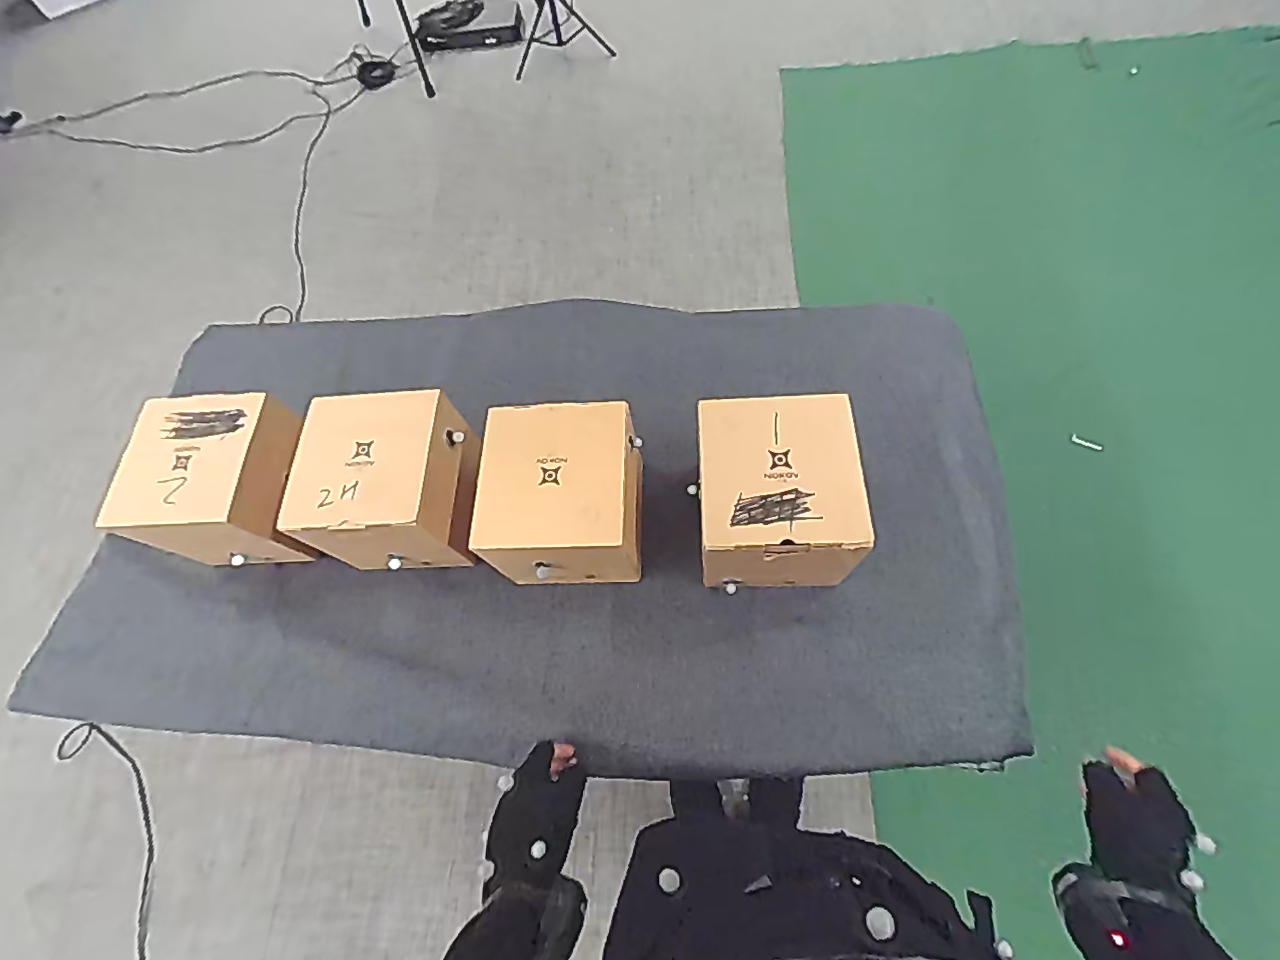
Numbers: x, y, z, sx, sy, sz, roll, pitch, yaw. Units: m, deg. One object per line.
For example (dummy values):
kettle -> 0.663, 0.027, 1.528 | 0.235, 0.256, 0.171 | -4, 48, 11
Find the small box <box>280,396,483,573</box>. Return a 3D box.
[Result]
small box -> -0.309, 0.013, 0.697 | 0.168, 0.176, 0.179 | -3, 65, 6

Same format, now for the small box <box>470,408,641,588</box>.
small box -> -0.089, 0.032, 0.664 | 0.168, 0.176, 0.179 | -2, 64, 6
